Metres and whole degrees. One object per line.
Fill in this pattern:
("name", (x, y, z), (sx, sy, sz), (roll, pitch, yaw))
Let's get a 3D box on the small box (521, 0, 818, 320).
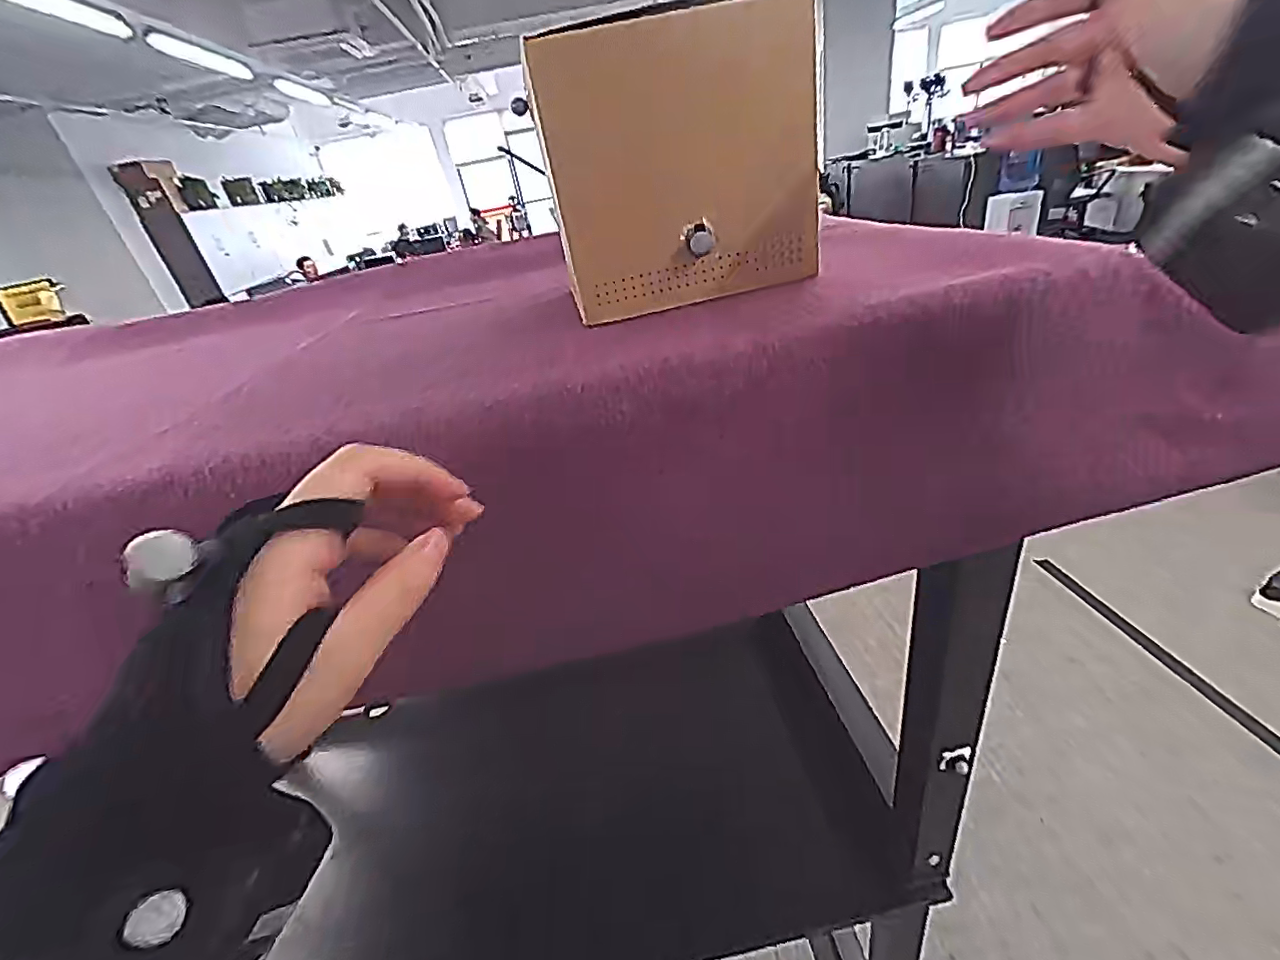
("small box", (0.018, -0.236, 0.412), (0.179, 0.176, 0.168), (-14, 29, -3))
